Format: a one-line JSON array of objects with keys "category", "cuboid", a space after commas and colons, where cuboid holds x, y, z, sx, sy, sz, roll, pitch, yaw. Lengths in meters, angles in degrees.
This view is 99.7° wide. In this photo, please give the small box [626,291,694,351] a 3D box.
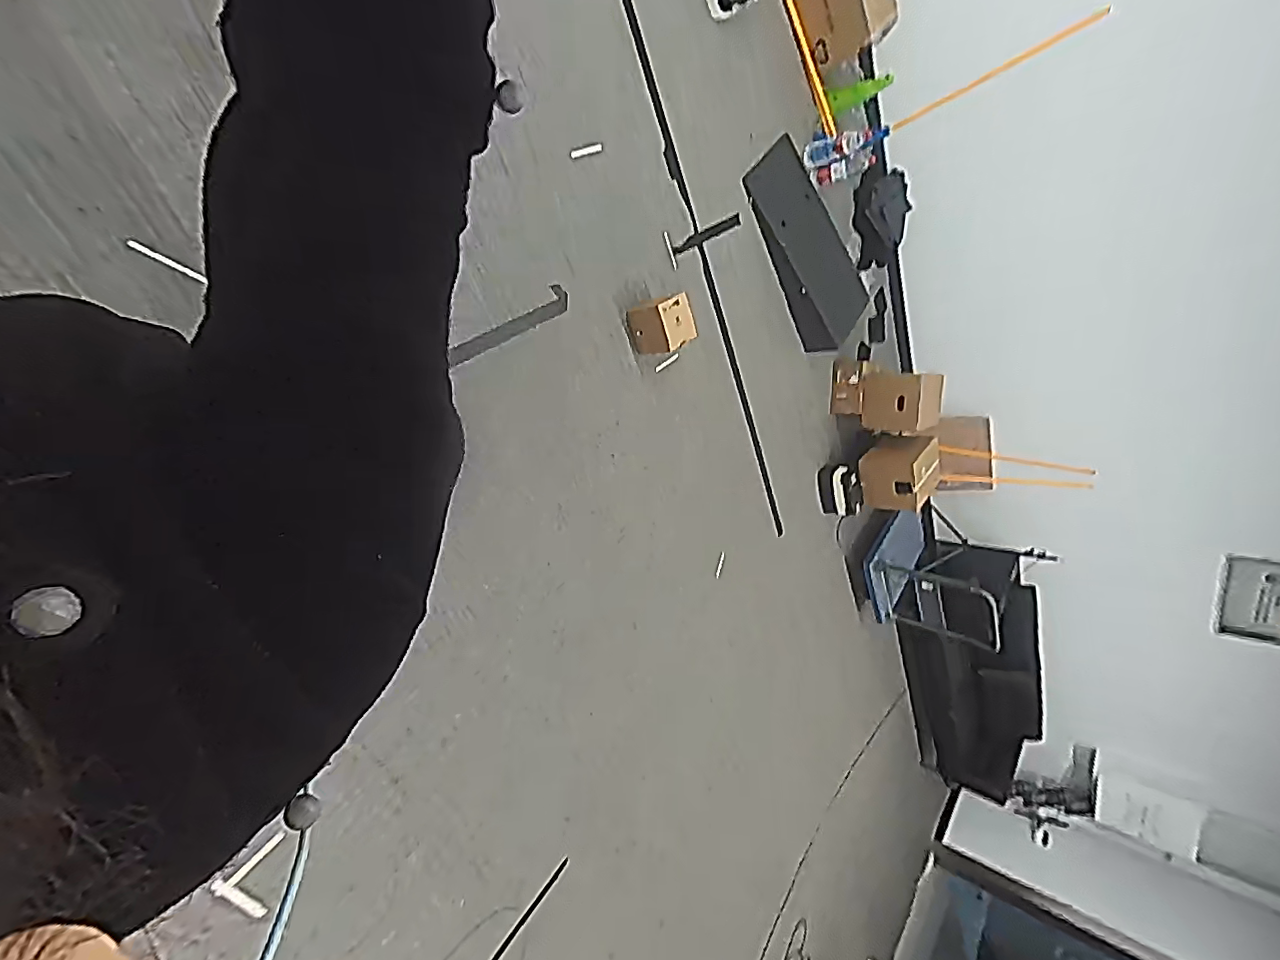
[{"category": "small box", "cuboid": [0.075, -0.601, 2.057, 0.168, 0.176, 0.179, -39, 122, -36]}]
